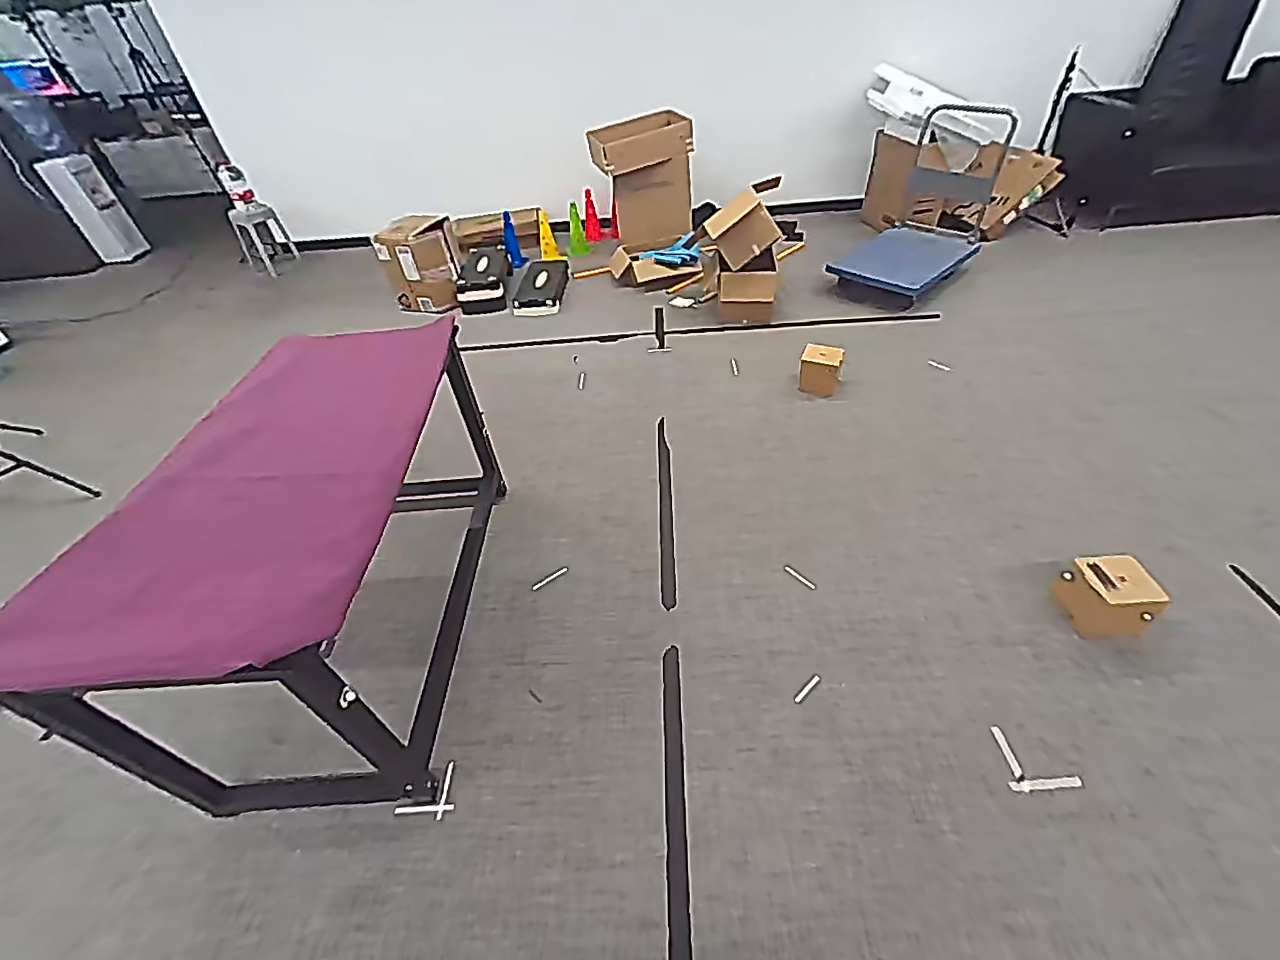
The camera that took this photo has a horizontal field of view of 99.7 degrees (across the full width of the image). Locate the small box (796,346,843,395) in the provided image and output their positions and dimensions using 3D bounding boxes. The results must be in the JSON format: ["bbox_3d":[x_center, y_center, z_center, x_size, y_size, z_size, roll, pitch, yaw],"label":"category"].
[{"bbox_3d":[0.865,-0.529,2.618,0.179,0.176,0.168,15,46,20],"label":"small box"}]
